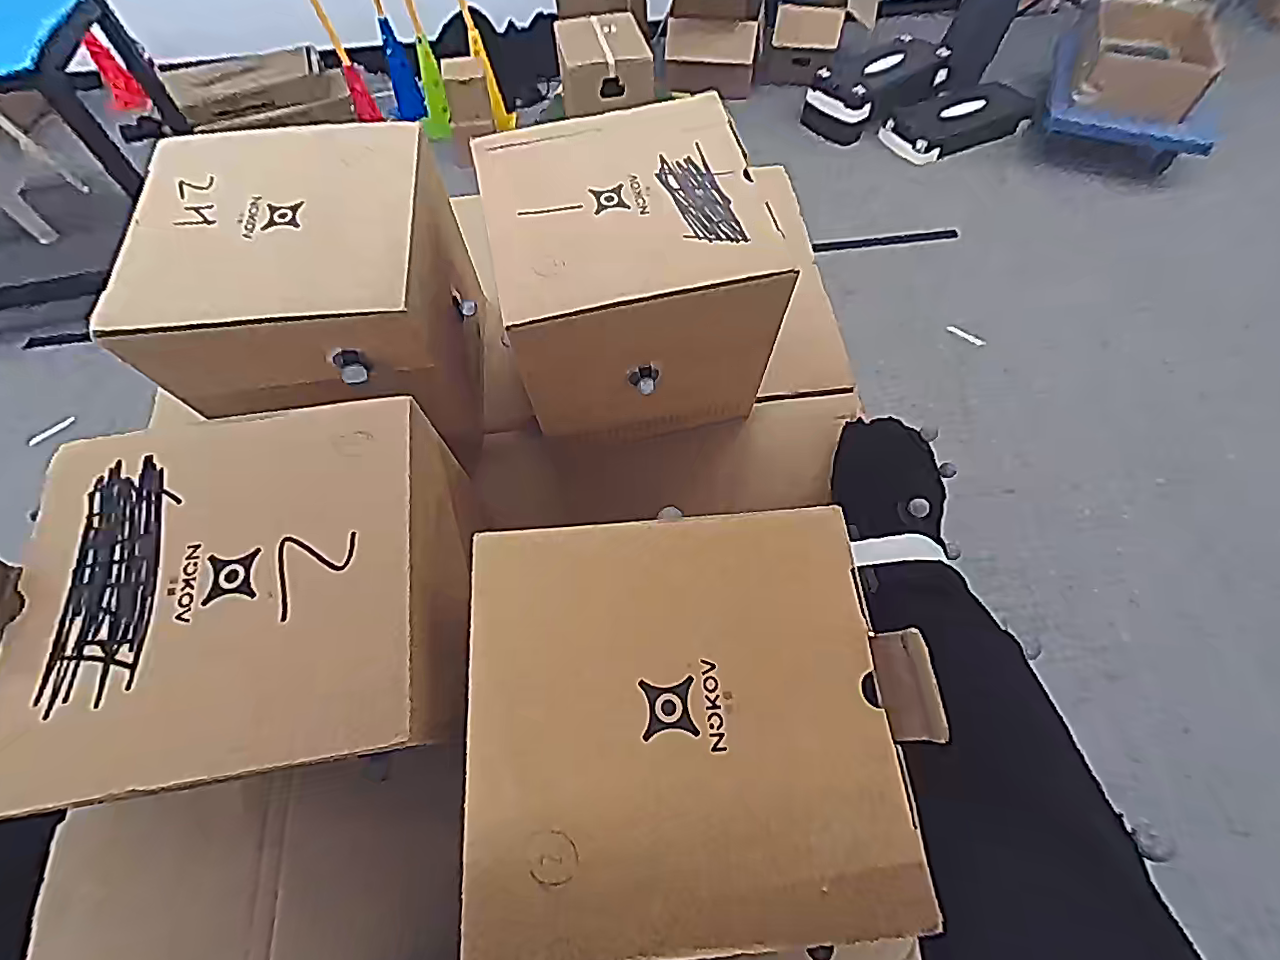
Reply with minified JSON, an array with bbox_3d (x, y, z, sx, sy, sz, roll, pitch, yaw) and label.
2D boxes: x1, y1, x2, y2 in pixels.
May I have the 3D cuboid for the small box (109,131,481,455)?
[{"bbox_3d":[-0.230,-0.132,0.421,0.179,0.176,0.168,-6,66,-2],"label":"small box"}]
